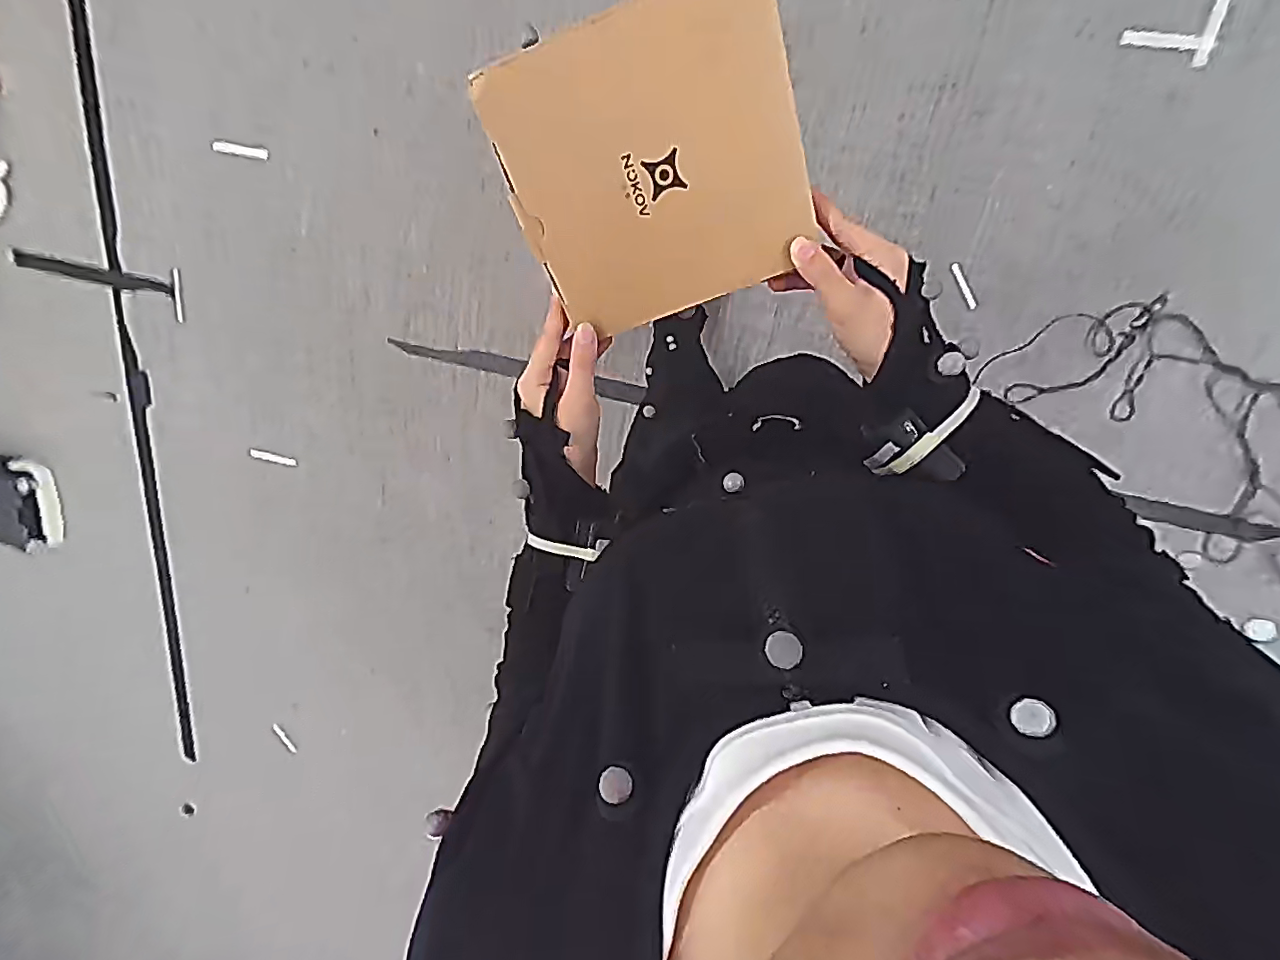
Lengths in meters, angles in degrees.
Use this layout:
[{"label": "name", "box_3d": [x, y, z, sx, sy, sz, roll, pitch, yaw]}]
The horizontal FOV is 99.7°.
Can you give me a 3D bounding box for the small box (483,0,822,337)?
[{"label": "small box", "box_3d": [0.015, -0.233, 0.400, 0.179, 0.176, 0.168, -16, 122, 11]}]
